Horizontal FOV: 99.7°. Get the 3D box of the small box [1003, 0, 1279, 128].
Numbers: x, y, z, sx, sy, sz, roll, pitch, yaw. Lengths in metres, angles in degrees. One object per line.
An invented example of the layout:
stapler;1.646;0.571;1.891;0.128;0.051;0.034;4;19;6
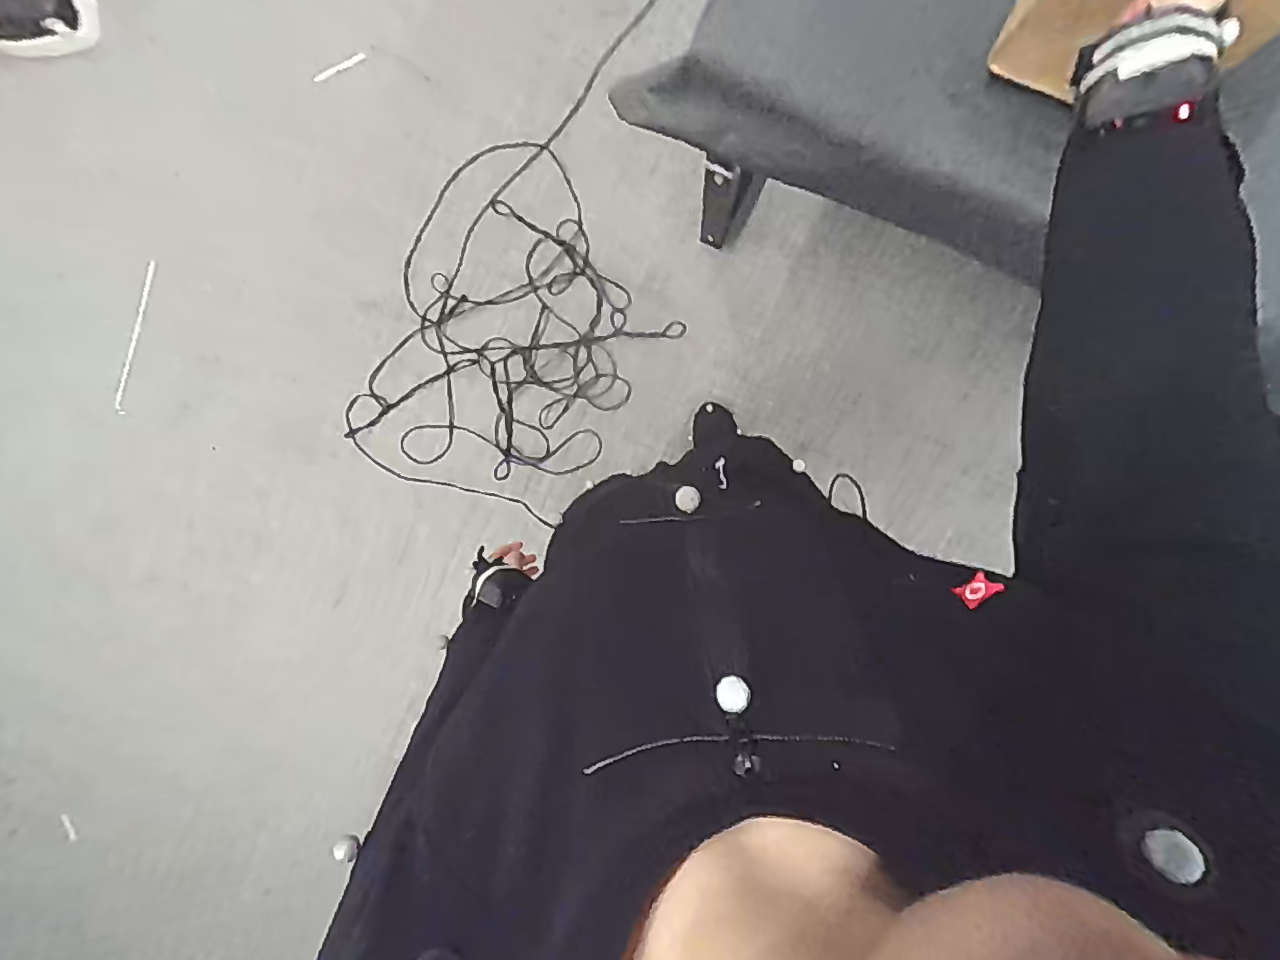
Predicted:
small box;0.454;-0.451;0.451;0.168;0.176;0.179;25;94;3
